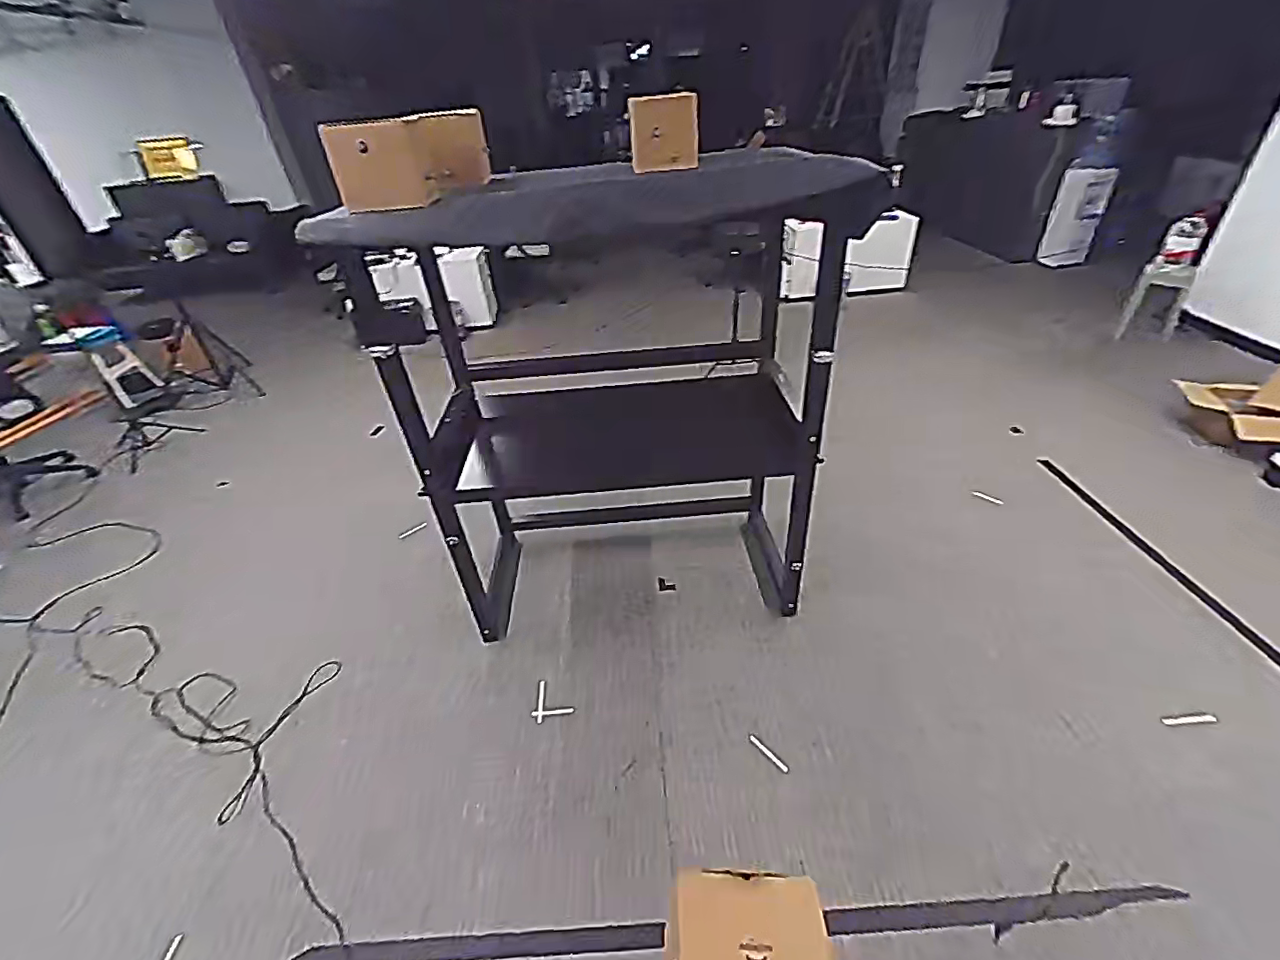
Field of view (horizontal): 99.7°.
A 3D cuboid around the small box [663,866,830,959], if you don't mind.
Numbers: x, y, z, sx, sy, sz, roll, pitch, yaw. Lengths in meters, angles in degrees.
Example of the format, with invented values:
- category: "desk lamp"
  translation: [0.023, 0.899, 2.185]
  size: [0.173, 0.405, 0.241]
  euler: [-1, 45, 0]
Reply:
- category: "small box"
  translation: [0.115, 0.576, 0.605]
  size: [0.168, 0.176, 0.179]
  euler: [3, 29, -1]

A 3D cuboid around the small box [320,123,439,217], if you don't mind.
- category: "small box"
  translation: [-0.582, -0.706, 1.233]
  size: [0.179, 0.176, 0.168]
  euler: [-7, 35, -4]

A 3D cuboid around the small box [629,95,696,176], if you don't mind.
- category: "small box"
  translation: [0.061, -0.941, 1.479]
  size: [0.168, 0.176, 0.179]
  euler: [-6, 36, 0]

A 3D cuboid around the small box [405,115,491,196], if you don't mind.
- category: "small box"
  translation: [-0.513, -0.882, 1.467]
  size: [0.179, 0.176, 0.168]
  euler: [-6, 36, -2]
